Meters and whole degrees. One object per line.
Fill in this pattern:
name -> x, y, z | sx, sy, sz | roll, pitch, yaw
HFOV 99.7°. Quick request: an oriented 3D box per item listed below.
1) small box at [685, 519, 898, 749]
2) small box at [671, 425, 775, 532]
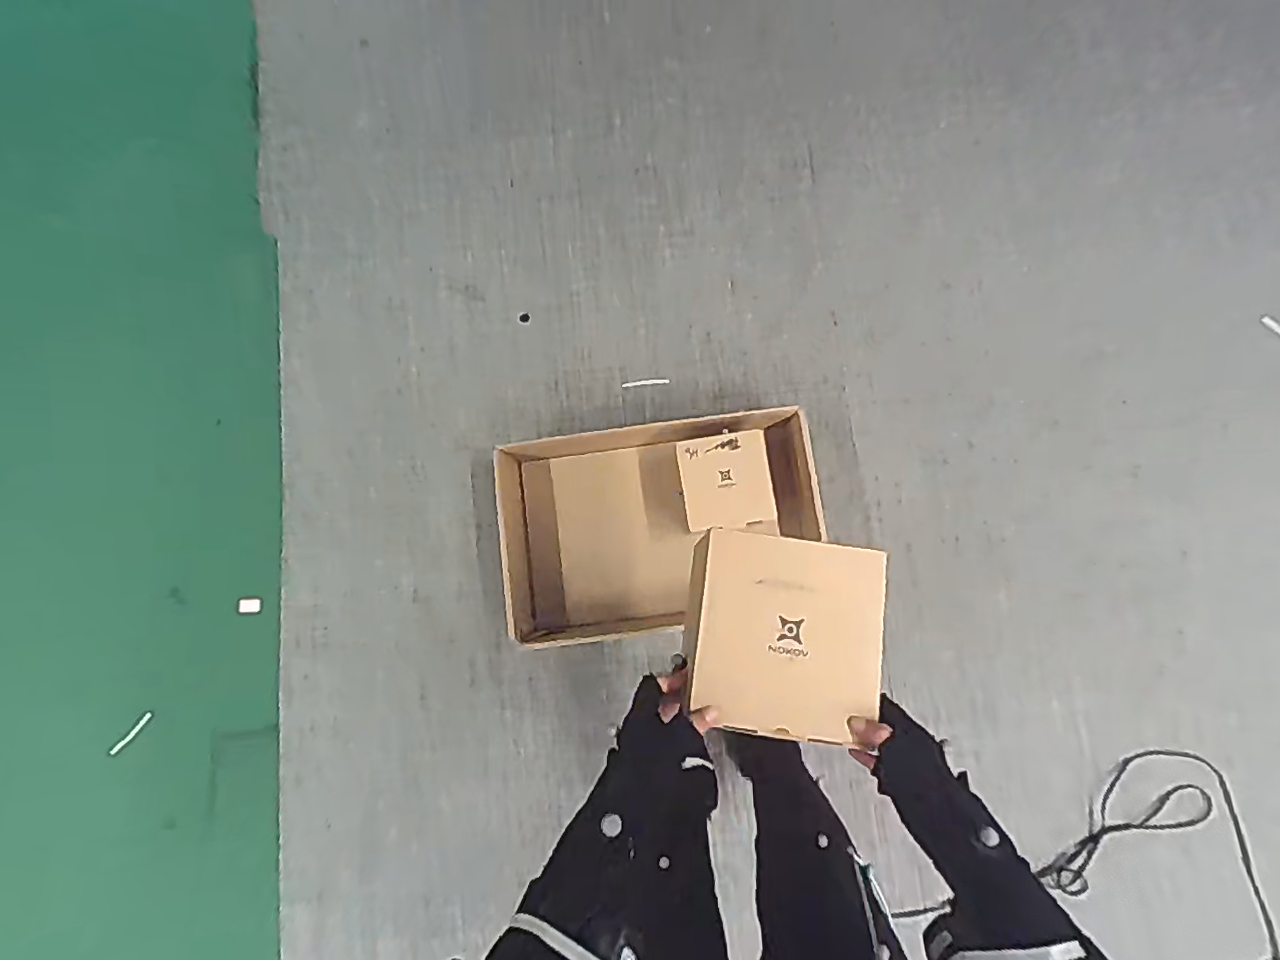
small box -> 0.139, 0.146, 0.547 | 0.168, 0.176, 0.179 | 8, 78, 2
small box -> 0.162, 0.004, 1.082 | 0.168, 0.176, 0.179 | -12, 82, 3
